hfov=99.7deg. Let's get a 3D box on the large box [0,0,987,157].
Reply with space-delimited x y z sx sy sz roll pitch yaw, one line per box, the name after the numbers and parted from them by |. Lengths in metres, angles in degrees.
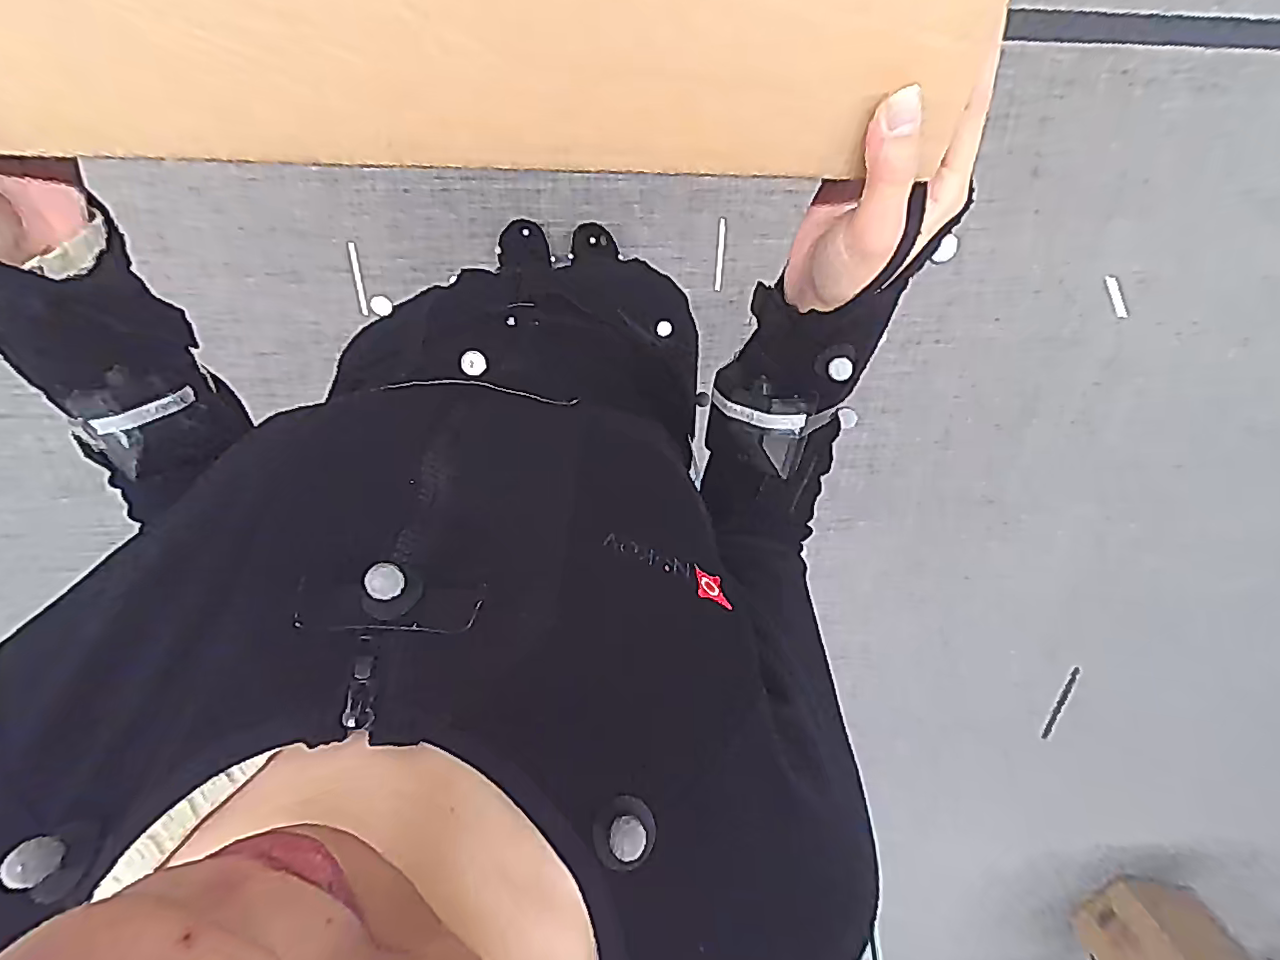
-0.079 -0.347 0.208 0.408 0.320 0.320 -1 139 -4 | large box
